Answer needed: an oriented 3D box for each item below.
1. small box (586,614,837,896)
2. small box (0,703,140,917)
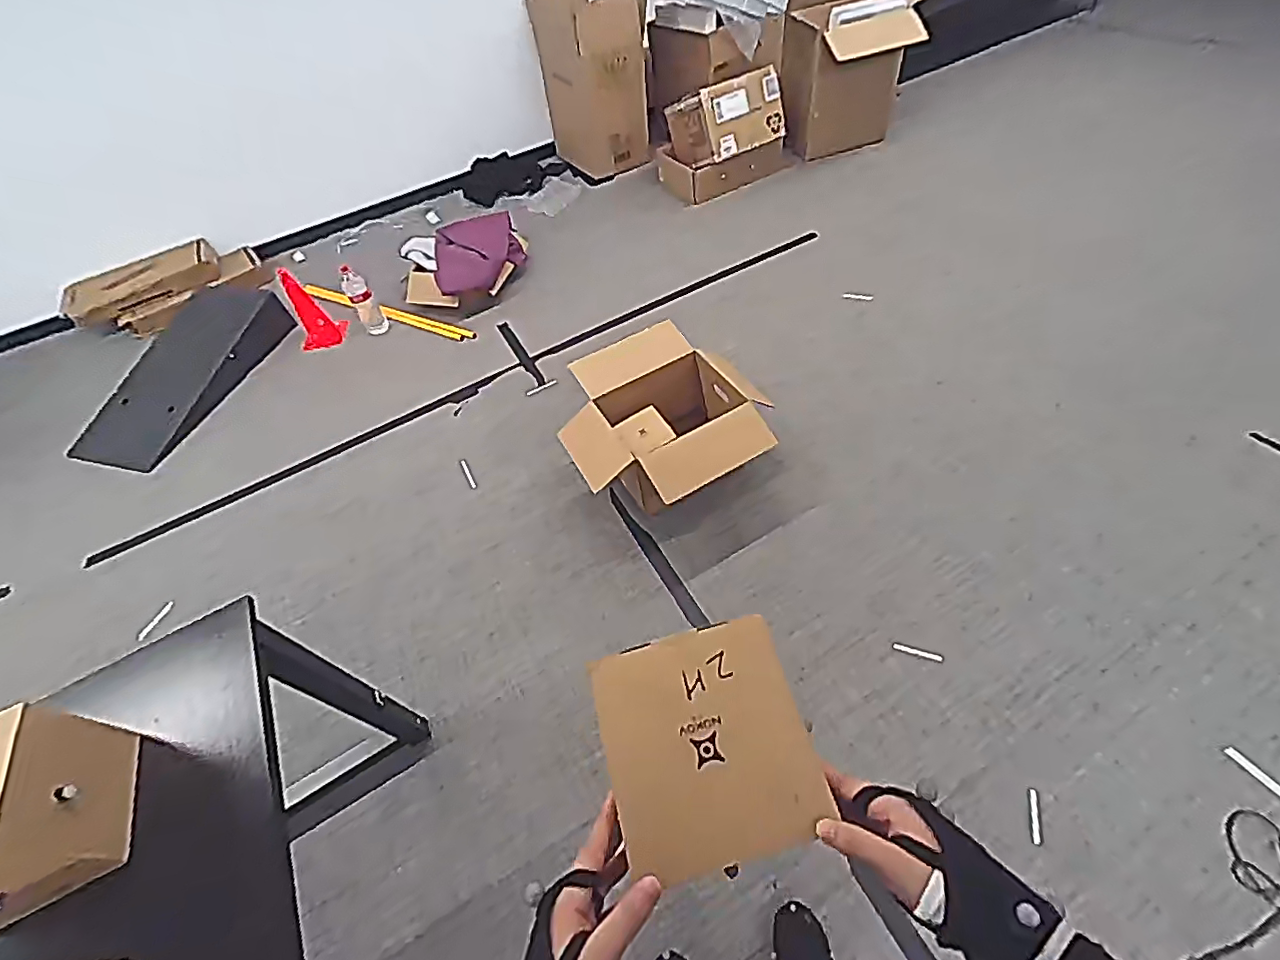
[{"bbox_3d":[0.057,0.252,0.511,0.168,0.176,0.179,-15,59,-4],"label":"small box"},{"bbox_3d":[-0.764,0.407,0.657,0.168,0.176,0.179,-26,54,-11],"label":"small box"}]
